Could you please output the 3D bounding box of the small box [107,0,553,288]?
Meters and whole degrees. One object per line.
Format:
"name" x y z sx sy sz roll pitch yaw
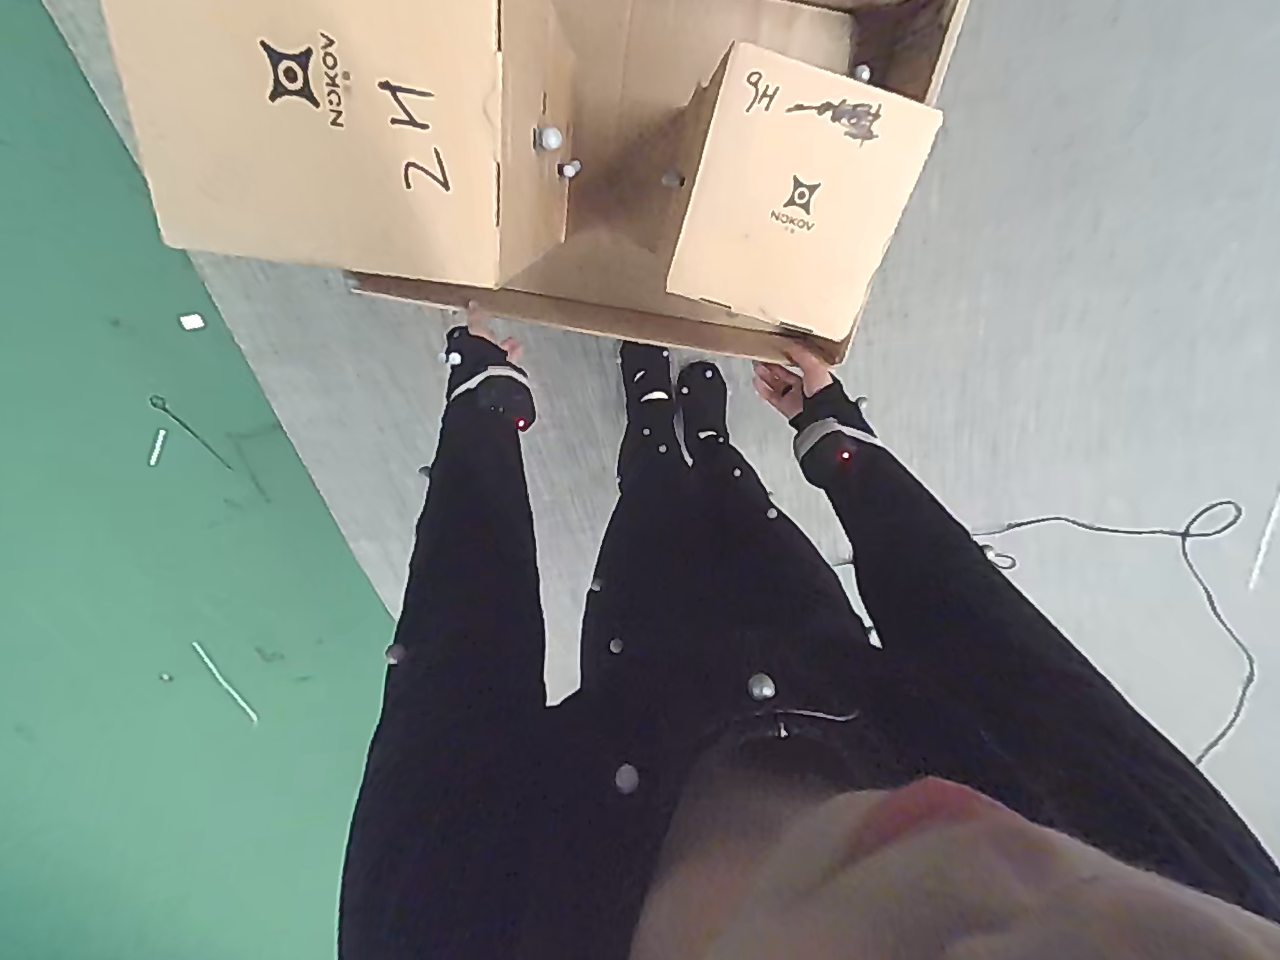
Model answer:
"small box" -0.154 -0.222 0.323 0.179 0.176 0.168 6 118 -5

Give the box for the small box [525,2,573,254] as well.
"small box" -0.158 -0.302 0.468 0.179 0.176 0.168 6 118 -6

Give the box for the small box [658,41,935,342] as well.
"small box" 0.118 -0.251 0.495 0.168 0.176 0.179 14 117 -8
